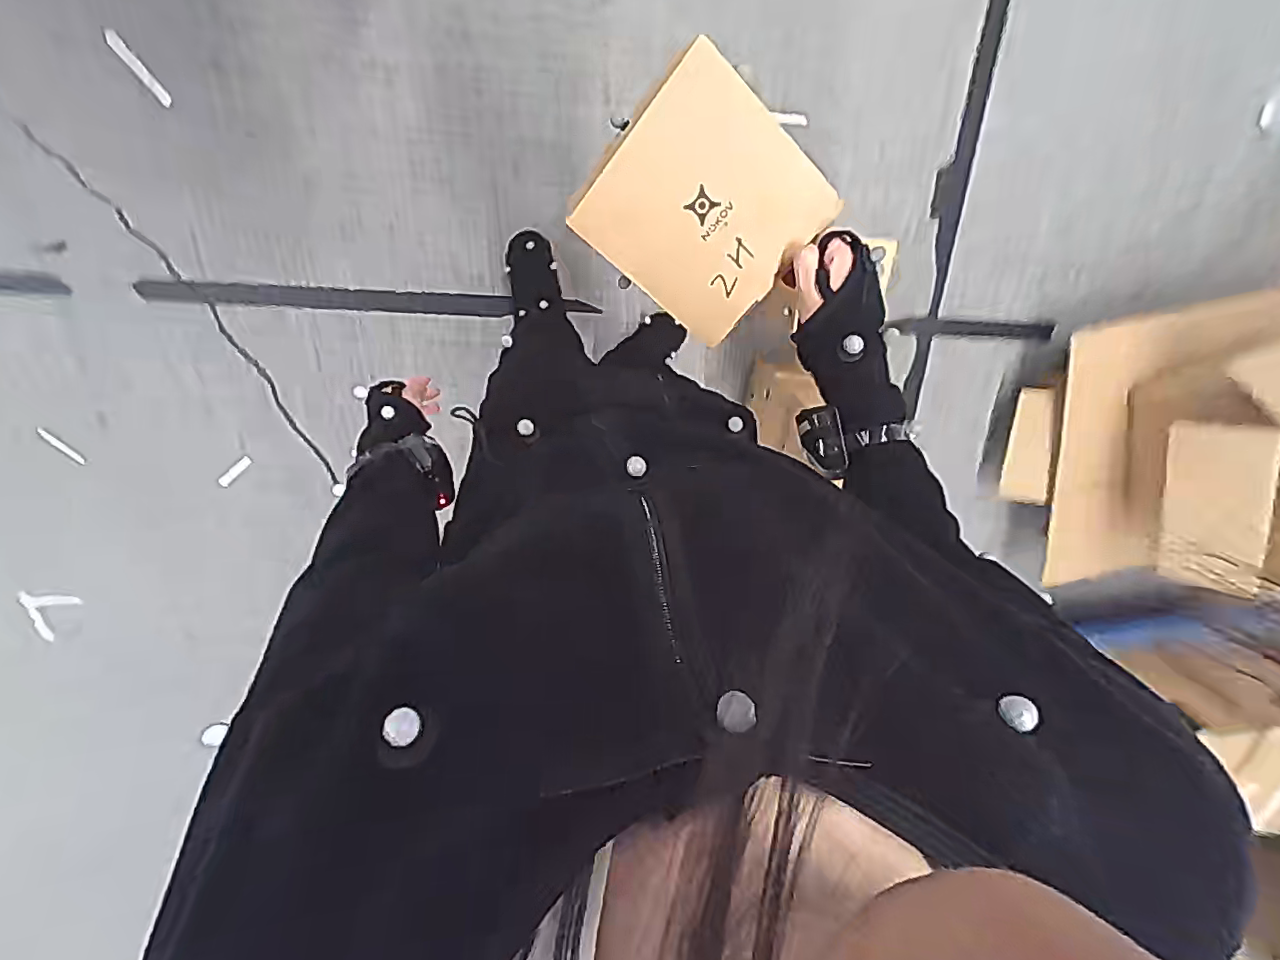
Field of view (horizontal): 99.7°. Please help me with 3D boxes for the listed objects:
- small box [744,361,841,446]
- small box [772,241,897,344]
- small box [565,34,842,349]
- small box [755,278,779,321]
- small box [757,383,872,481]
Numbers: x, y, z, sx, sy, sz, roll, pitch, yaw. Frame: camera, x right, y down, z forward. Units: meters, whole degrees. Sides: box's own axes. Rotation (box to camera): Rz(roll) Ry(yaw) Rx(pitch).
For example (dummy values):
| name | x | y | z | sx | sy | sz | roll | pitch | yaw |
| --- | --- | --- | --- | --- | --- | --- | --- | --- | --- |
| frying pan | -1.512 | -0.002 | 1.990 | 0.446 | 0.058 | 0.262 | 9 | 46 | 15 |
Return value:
| name | x | y | z | sx | sy | sz | roll | pitch | yaw |
| --- | --- | --- | --- | --- | --- | --- | --- | --- | --- |
| small box | 0.367 | -0.181 | 1.340 | 0.168 | 0.176 | 0.179 | 6 | 115 | -6 |
| small box | 0.373 | -0.377 | 1.073 | 0.168 | 0.176 | 0.179 | 1 | 116 | -5 |
| small box | 0.046 | -0.260 | 0.513 | 0.179 | 0.176 | 0.168 | 33 | 113 | -24 |
| small box | 0.371 | -0.447 | 1.220 | 0.179 | 0.176 | 0.168 | 0 | 115 | -5 |
| small box | 0.371 | -0.111 | 1.190 | 0.179 | 0.176 | 0.168 | 4 | 114 | -7 |
